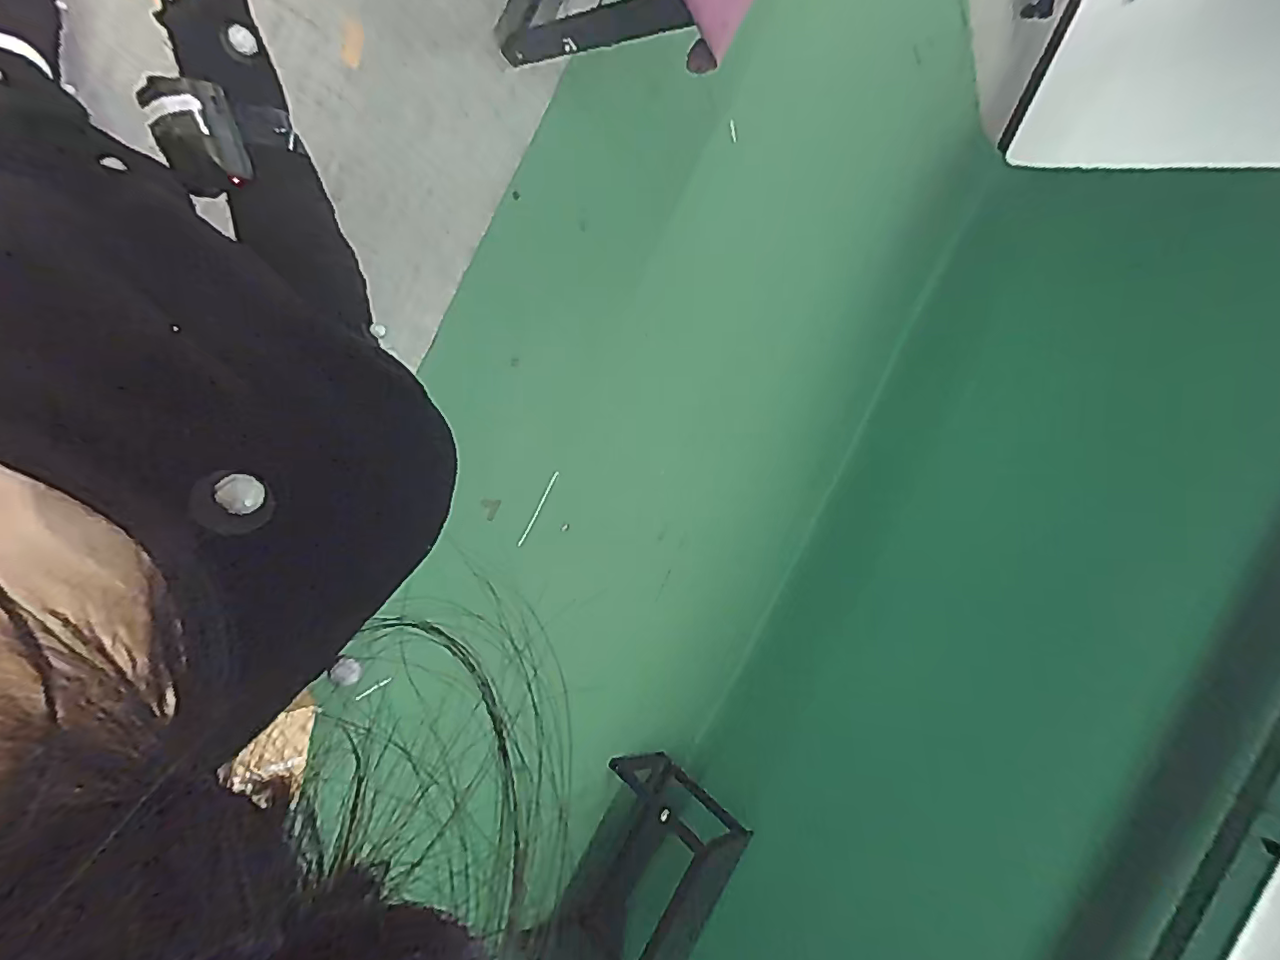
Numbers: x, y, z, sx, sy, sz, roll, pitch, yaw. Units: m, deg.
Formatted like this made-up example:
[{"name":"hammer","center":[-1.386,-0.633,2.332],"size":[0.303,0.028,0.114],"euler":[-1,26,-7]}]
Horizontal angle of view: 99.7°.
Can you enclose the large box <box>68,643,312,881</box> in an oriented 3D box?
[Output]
[{"name":"large box","center":[-1.101,0.645,1.328],"size":[0.408,0.320,0.320],"euler":[4,108,-50]}]
